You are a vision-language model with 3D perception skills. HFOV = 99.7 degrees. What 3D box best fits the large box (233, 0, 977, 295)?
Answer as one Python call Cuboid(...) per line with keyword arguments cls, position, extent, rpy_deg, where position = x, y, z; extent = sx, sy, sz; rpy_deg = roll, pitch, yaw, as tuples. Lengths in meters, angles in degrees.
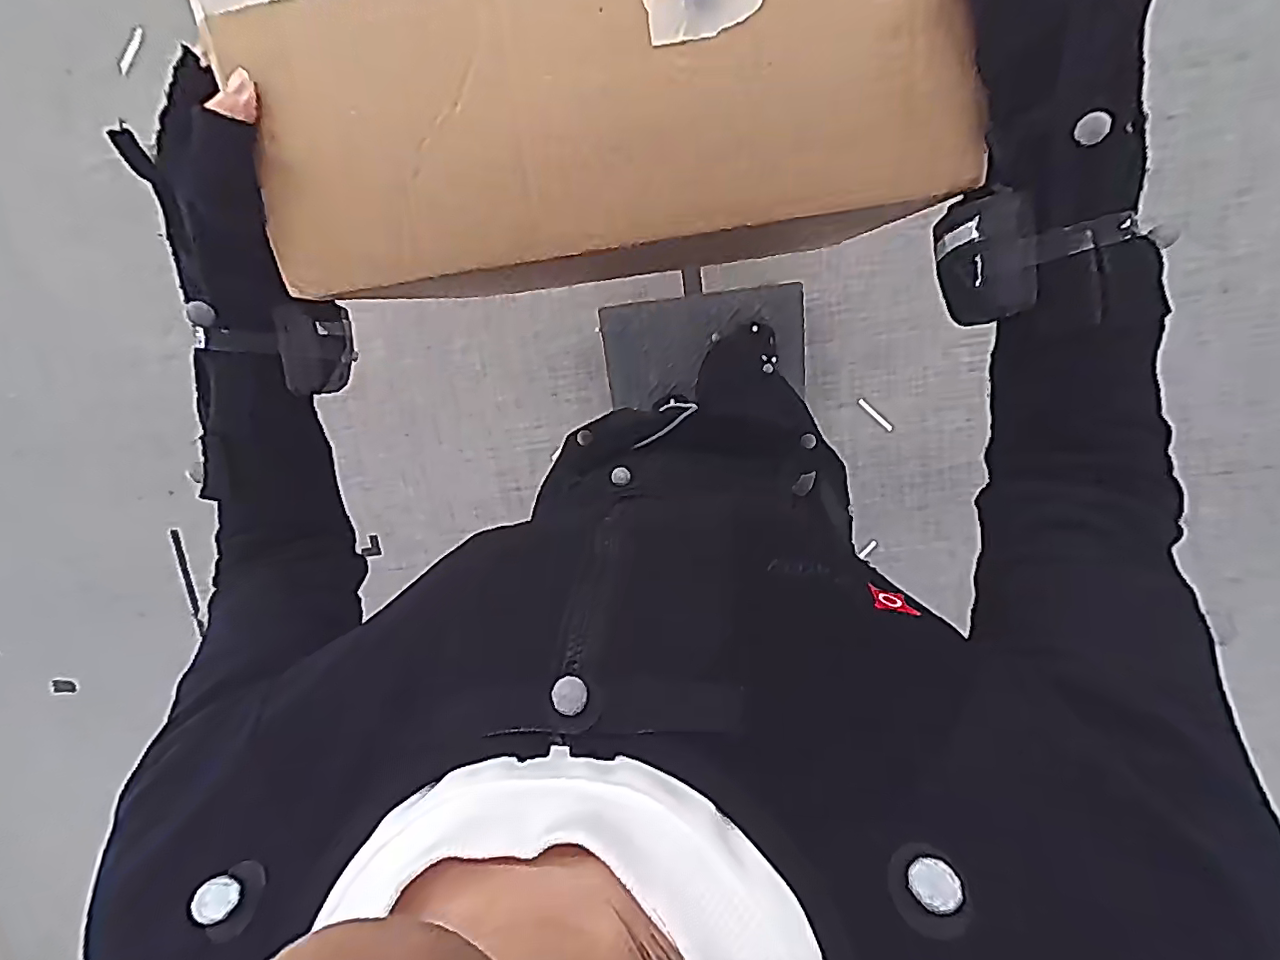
Cuboid(cls="large box", position=(-0.023, -0.337, 0.419), extent=(0.408, 0.320, 0.320), rpy_deg=(-6, 108, 8))
